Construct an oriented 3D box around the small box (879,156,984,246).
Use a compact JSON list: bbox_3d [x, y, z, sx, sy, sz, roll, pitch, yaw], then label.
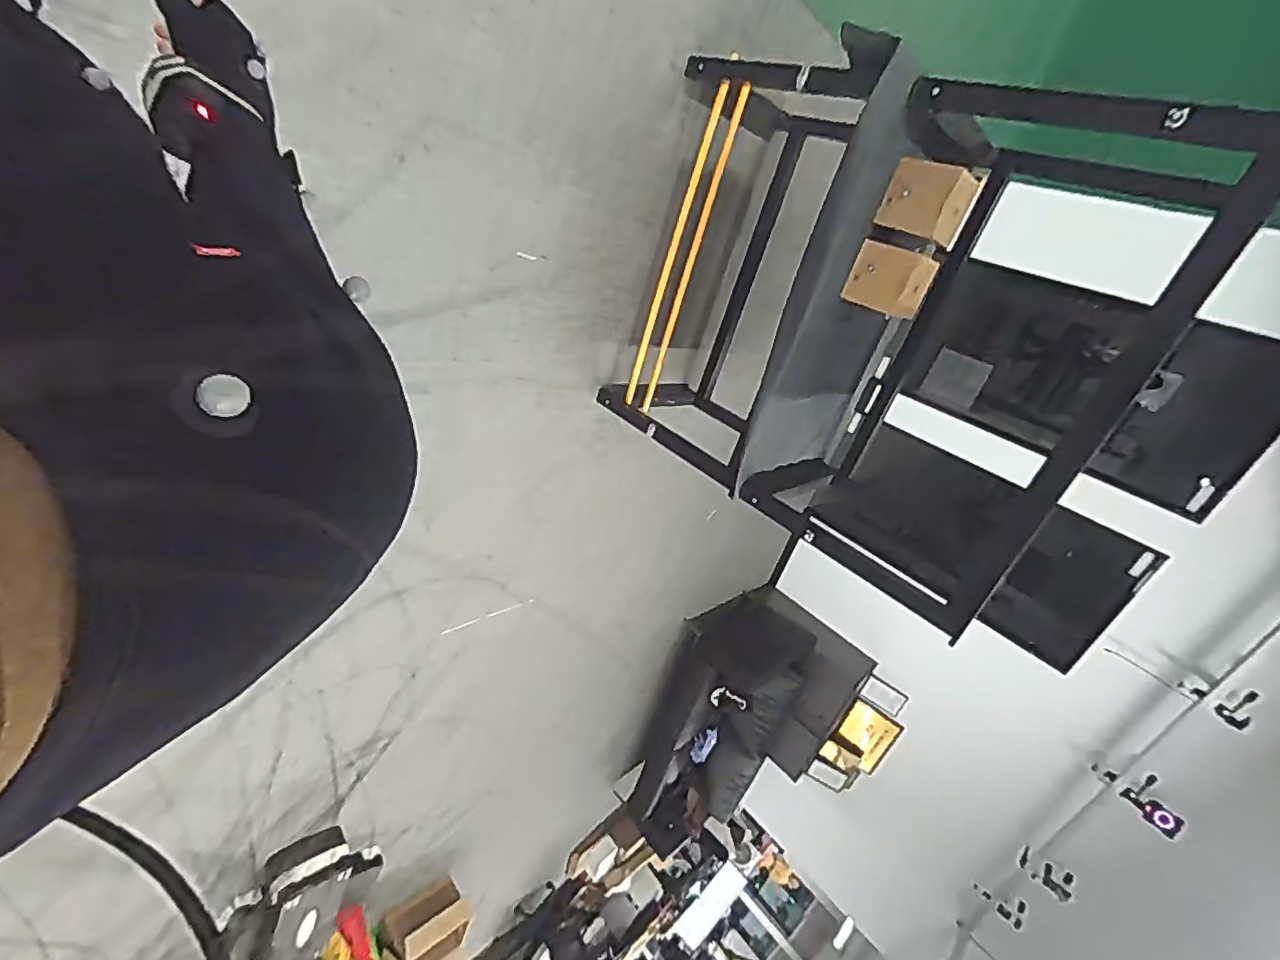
[{"bbox_3d":[0.783,-0.753,1.460,0.179,0.176,0.168,-11,128,-46],"label":"small box"}]
